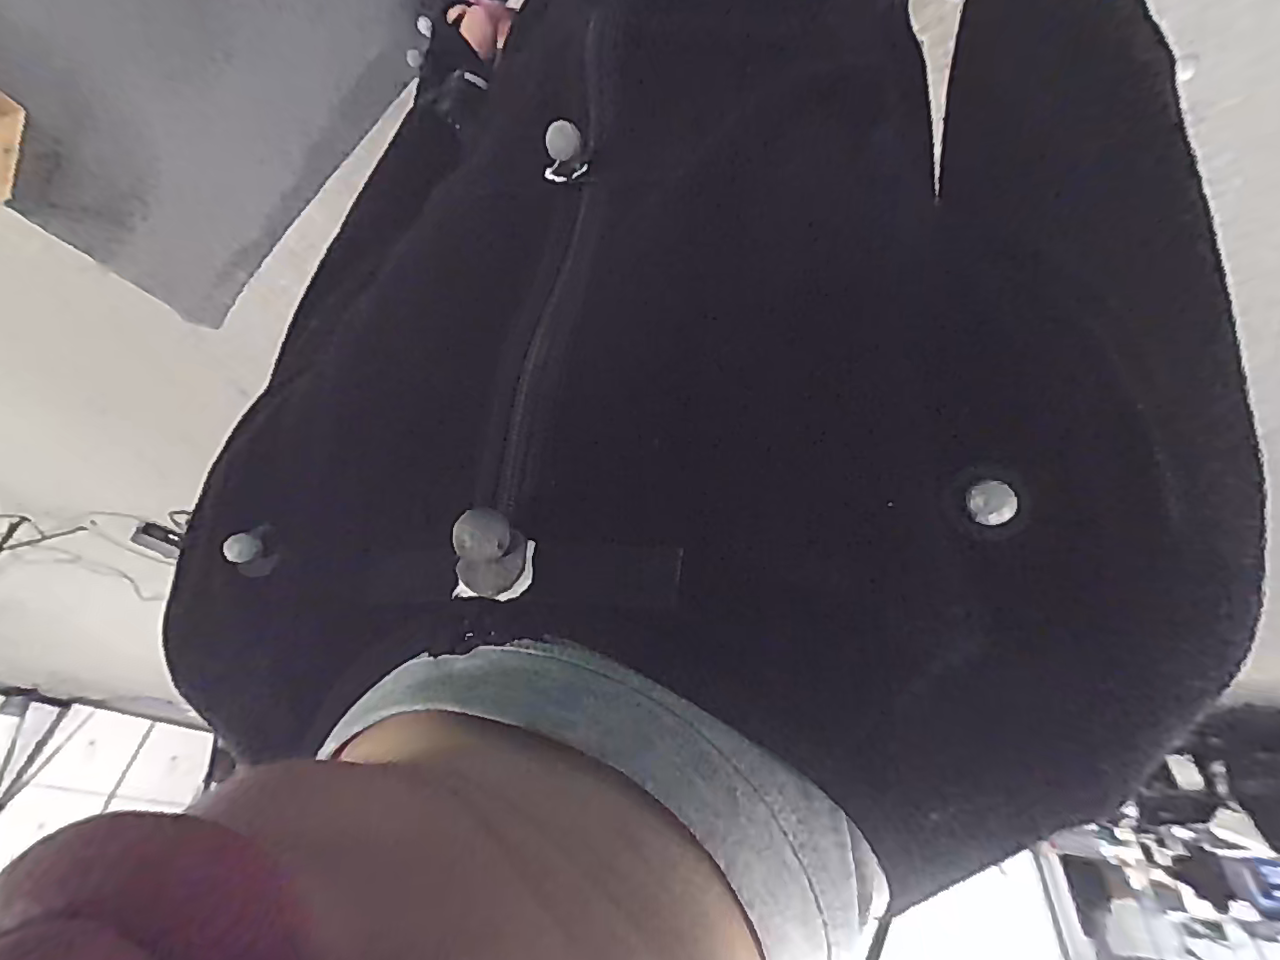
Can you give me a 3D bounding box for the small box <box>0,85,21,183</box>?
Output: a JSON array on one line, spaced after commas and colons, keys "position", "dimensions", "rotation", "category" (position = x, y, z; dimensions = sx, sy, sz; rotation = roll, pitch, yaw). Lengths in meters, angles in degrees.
[{"position": [-0.832, -0.393, 0.574], "dimensions": [0.168, 0.176, 0.179], "rotation": [-25, 135, 34], "category": "small box"}]
